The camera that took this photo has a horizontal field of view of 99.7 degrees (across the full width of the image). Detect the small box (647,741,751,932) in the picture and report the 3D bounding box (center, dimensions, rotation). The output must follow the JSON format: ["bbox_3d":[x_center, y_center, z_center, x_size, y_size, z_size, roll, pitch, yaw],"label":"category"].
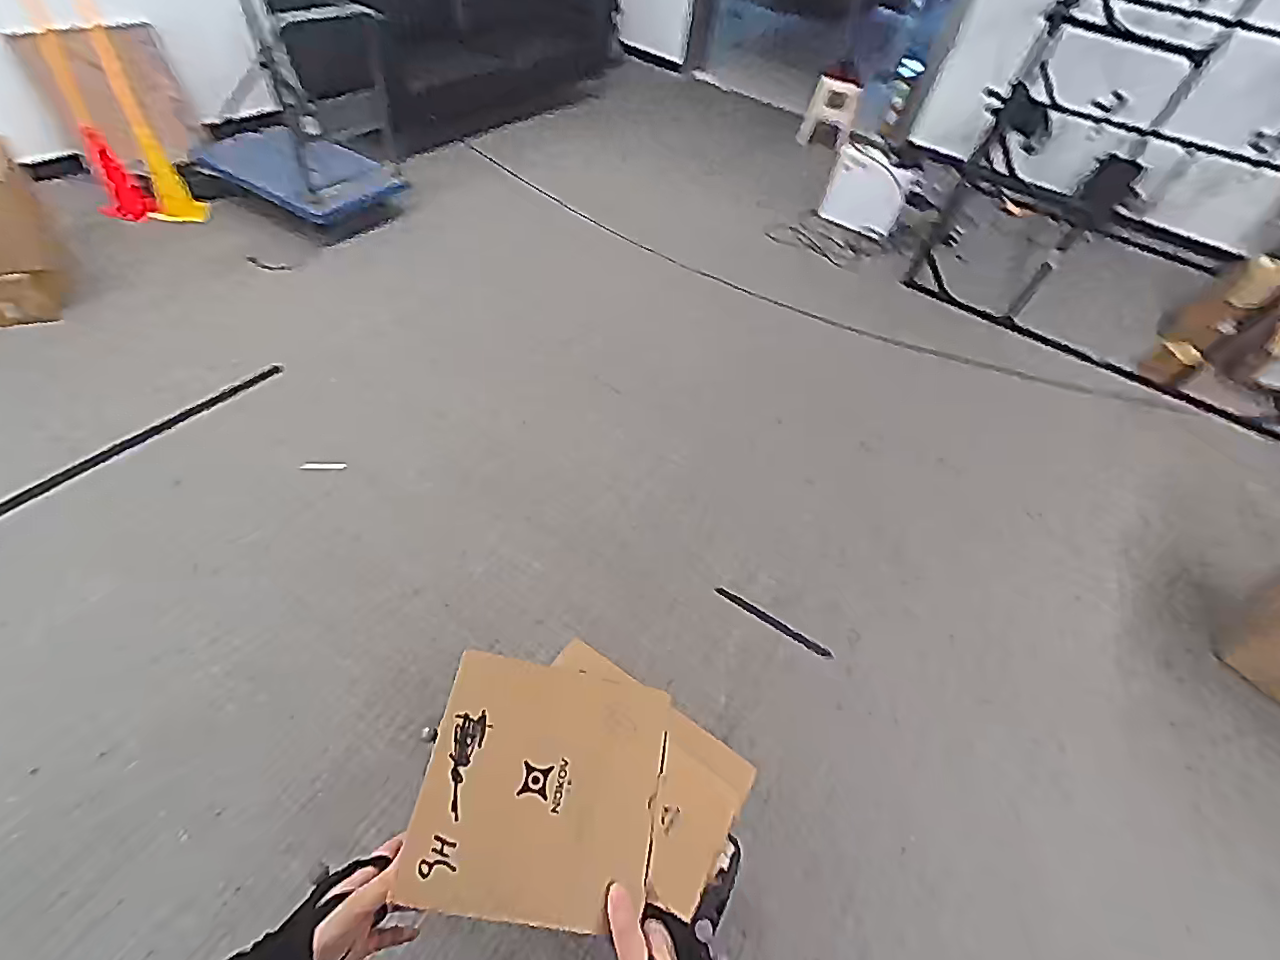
[{"bbox_3d":[0.028,0.497,0.775,0.179,0.176,0.168,31,53,17],"label":"small box"}]

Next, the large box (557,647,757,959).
[{"bbox_3d":[-0.058,0.596,1.001,0.408,0.320,0.320,30,51,17],"label":"large box"}]

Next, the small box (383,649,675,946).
[{"bbox_3d":[-0.088,0.258,0.460,0.179,0.176,0.168,16,59,-8],"label":"small box"}]
